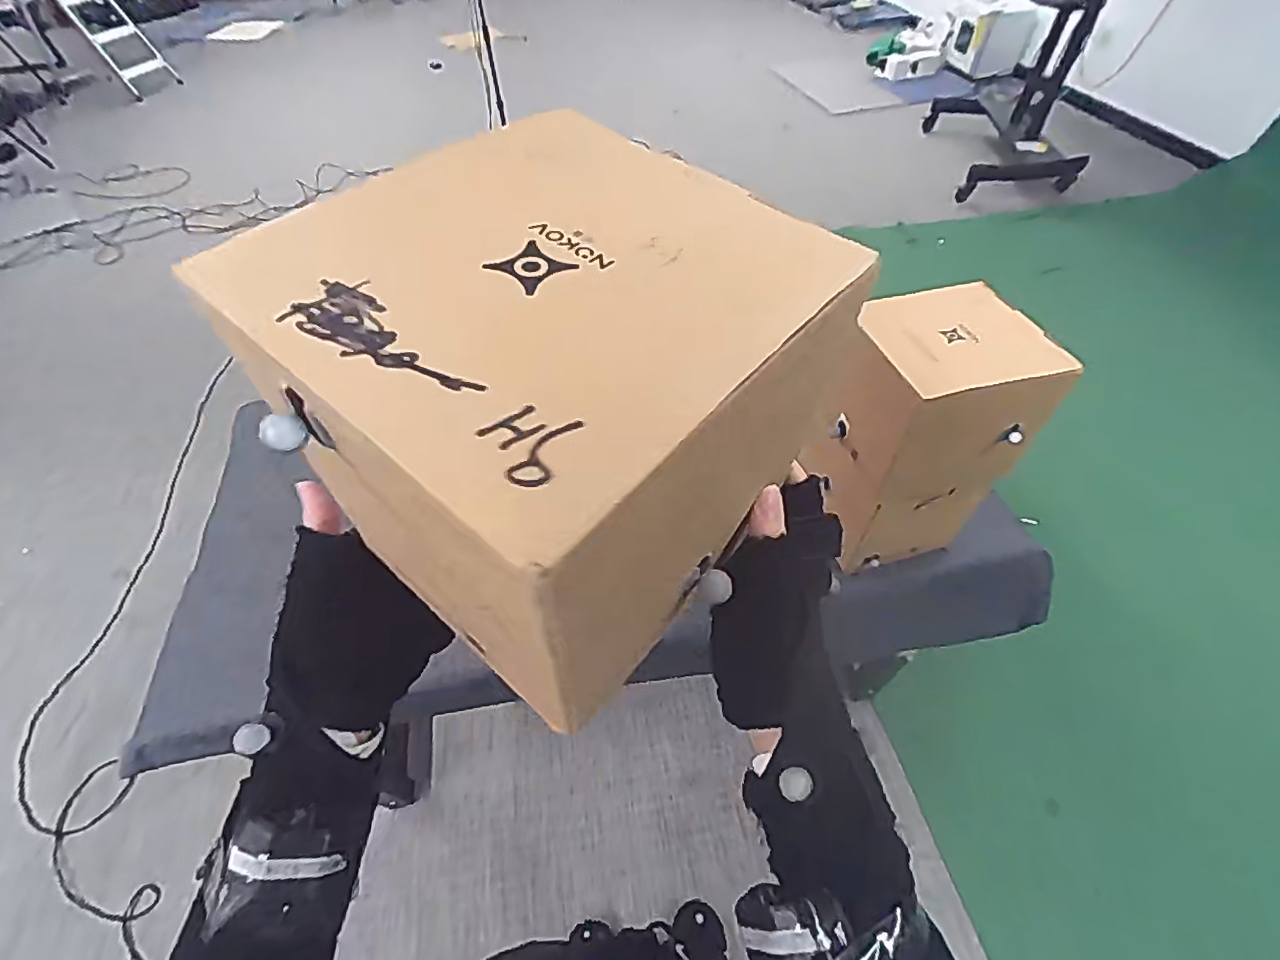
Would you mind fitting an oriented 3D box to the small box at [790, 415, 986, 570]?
[{"bbox_3d":[0.334,0.010,0.770,0.168,0.176,0.179,-13,50,-8],"label":"small box"}]

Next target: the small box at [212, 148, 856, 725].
[{"bbox_3d":[-0.035,-0.021,0.260,0.168,0.176,0.179,34,57,20],"label":"small box"}]

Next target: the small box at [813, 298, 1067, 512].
[{"bbox_3d":[0.330,-0.086,0.640,0.179,0.176,0.168,-12,49,-6],"label":"small box"}]
